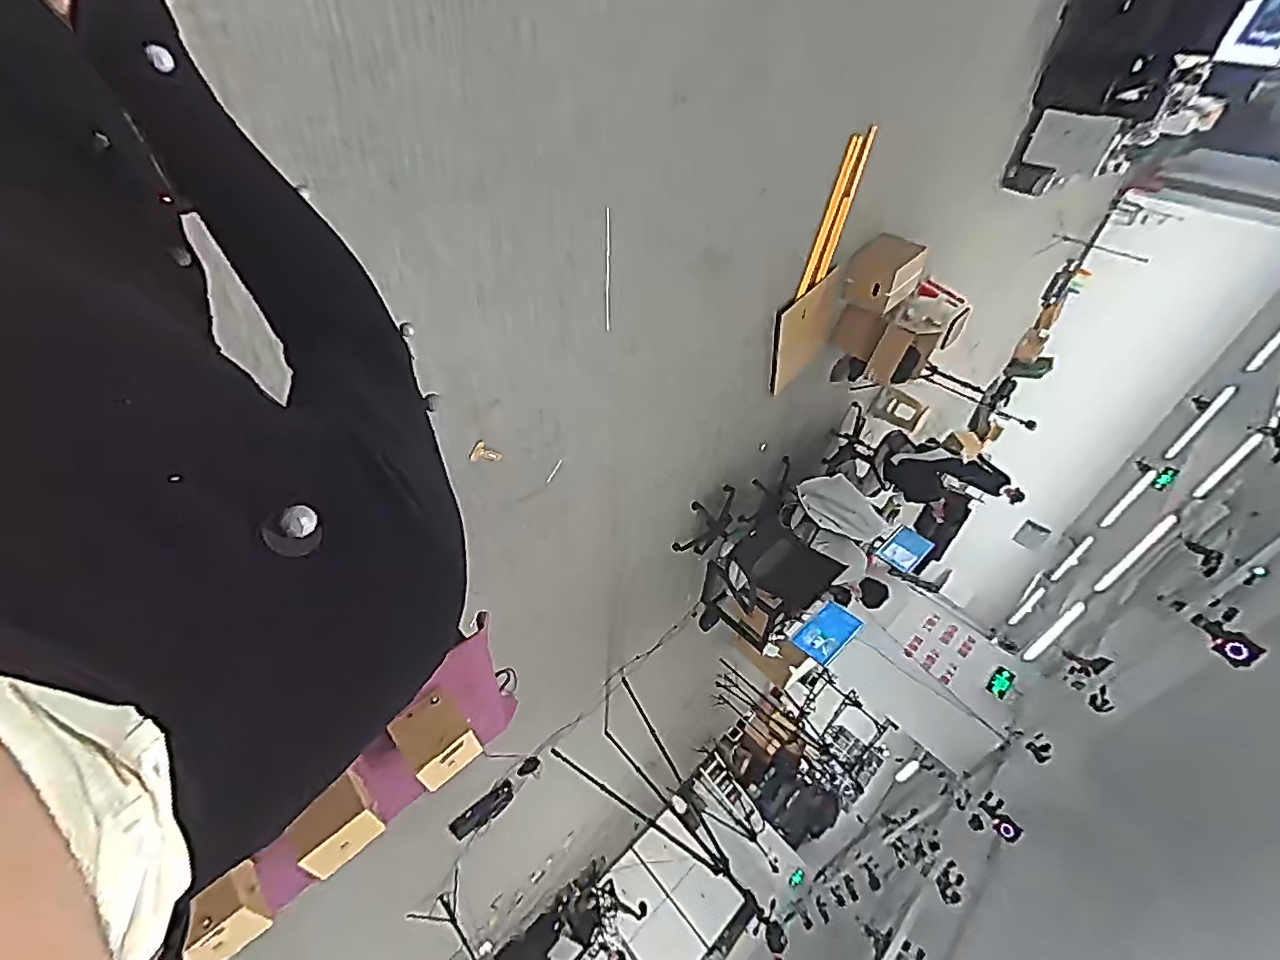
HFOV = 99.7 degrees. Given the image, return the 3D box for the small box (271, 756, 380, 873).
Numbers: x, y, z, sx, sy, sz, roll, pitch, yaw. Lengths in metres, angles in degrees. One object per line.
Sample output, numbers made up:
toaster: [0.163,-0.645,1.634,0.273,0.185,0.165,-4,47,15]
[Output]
small box: [-0.797,0.845,1.376,0.168,0.176,0.179,-31,143,-31]

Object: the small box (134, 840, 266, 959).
small box: [-1.000,0.969,1.235,0.168,0.176,0.179,-30,144,-33]

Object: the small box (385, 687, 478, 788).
small box: [-0.583,0.714,1.514,0.168,0.176,0.179,-33,146,-28]
